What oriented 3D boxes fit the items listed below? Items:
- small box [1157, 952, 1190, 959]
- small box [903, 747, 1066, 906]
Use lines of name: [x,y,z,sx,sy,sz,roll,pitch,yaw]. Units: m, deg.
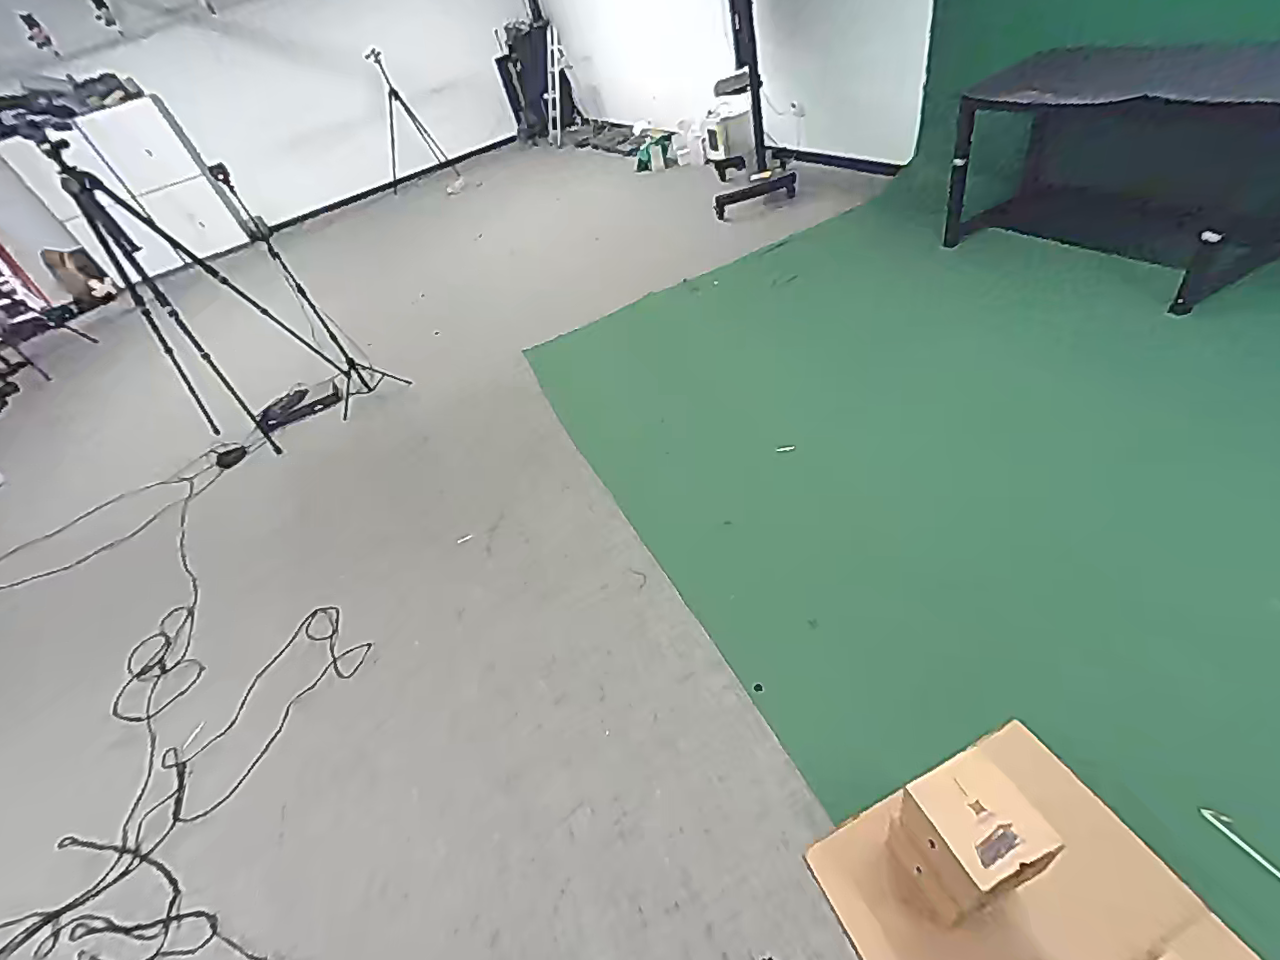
small box: [0.731,0.798,0.742,0.179,0.176,0.168,-25,41,-8]
small box: [0.603,0.626,0.971,0.168,0.176,0.179,-24,39,-6]
